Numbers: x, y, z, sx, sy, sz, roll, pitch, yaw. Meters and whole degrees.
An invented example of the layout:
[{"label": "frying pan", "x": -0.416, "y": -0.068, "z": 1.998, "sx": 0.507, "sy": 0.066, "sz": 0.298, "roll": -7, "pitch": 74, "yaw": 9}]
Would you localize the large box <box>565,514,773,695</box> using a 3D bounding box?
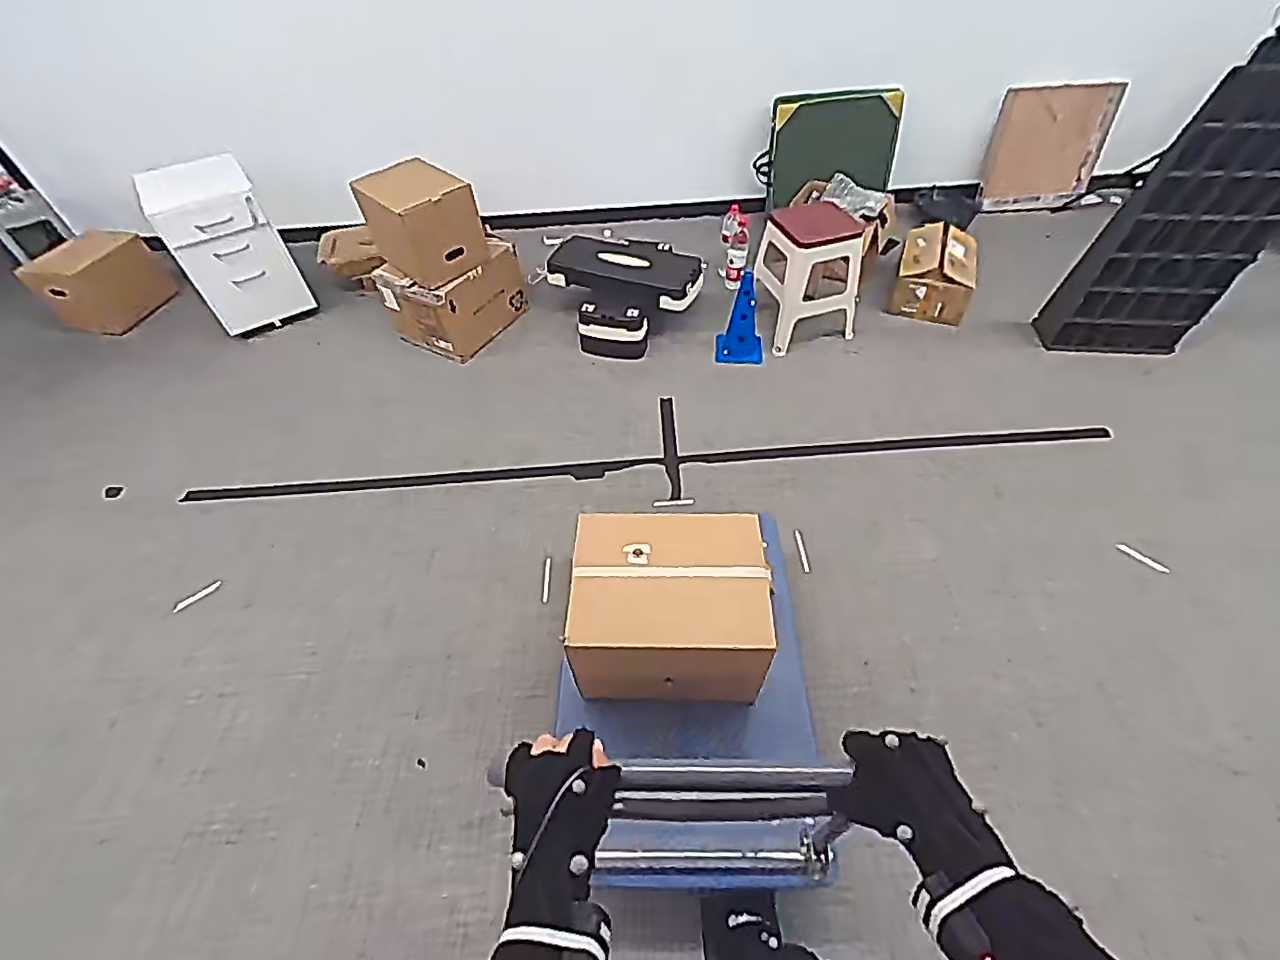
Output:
[{"label": "large box", "x": 0.063, "y": 0.292, "z": 1.236, "sx": 0.408, "sy": 0.320, "sz": 0.320, "roll": -1, "pitch": 50, "yaw": 3}]
